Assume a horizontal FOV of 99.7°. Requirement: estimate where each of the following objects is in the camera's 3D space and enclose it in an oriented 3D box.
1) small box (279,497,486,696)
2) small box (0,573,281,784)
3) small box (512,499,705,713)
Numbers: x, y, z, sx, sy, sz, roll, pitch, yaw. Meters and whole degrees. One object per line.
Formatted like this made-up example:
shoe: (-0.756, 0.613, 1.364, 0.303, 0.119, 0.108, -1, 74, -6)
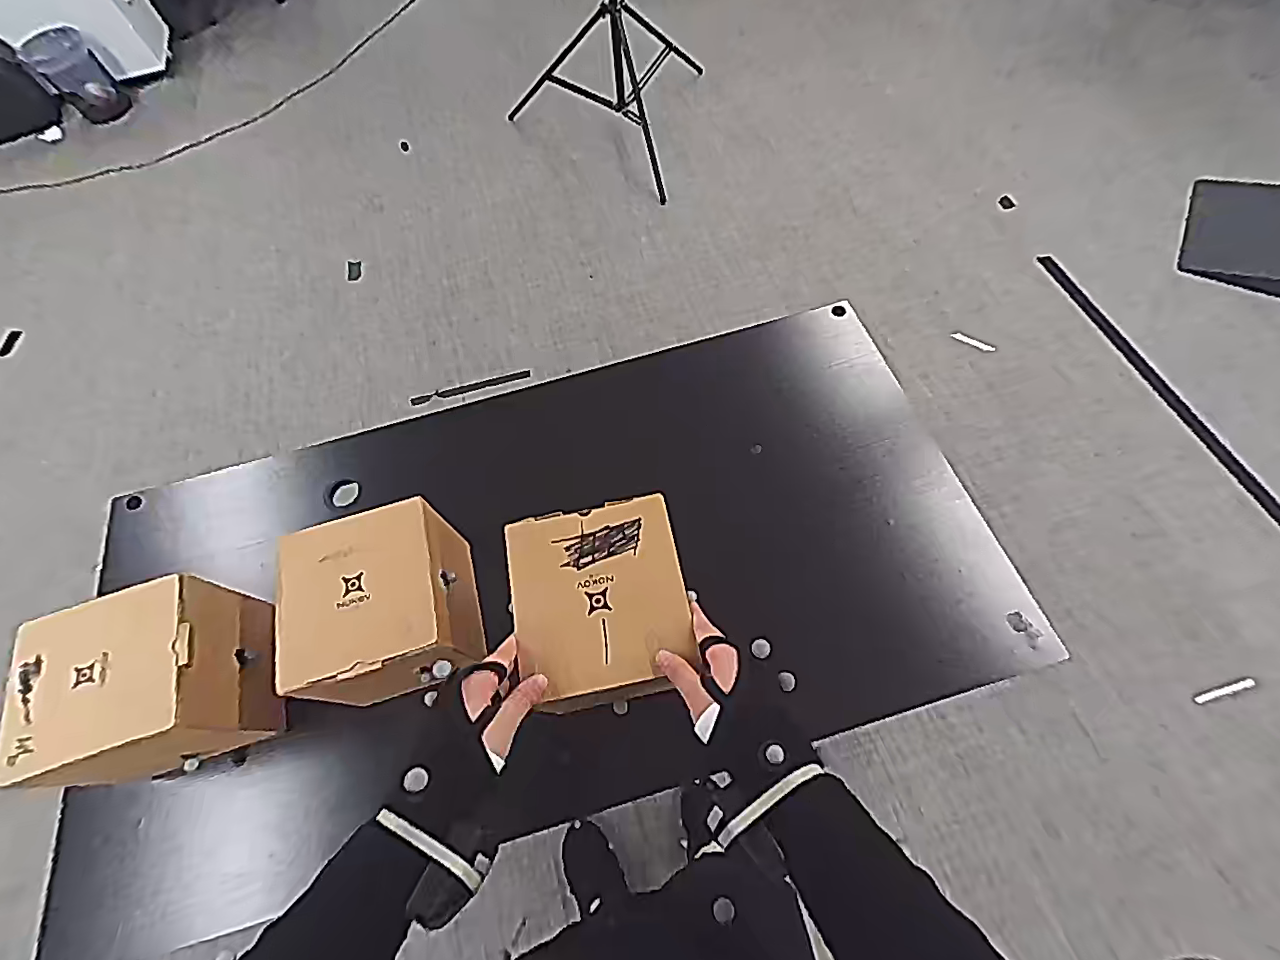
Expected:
small box: (-0.297, 0.149, 0.649, 0.168, 0.176, 0.179, -16, 63, -6)
small box: (-0.546, 0.228, 0.624, 0.179, 0.176, 0.168, -18, 64, -6)
small box: (-0.033, 0.144, 0.589, 0.168, 0.176, 0.179, -11, 65, -2)
